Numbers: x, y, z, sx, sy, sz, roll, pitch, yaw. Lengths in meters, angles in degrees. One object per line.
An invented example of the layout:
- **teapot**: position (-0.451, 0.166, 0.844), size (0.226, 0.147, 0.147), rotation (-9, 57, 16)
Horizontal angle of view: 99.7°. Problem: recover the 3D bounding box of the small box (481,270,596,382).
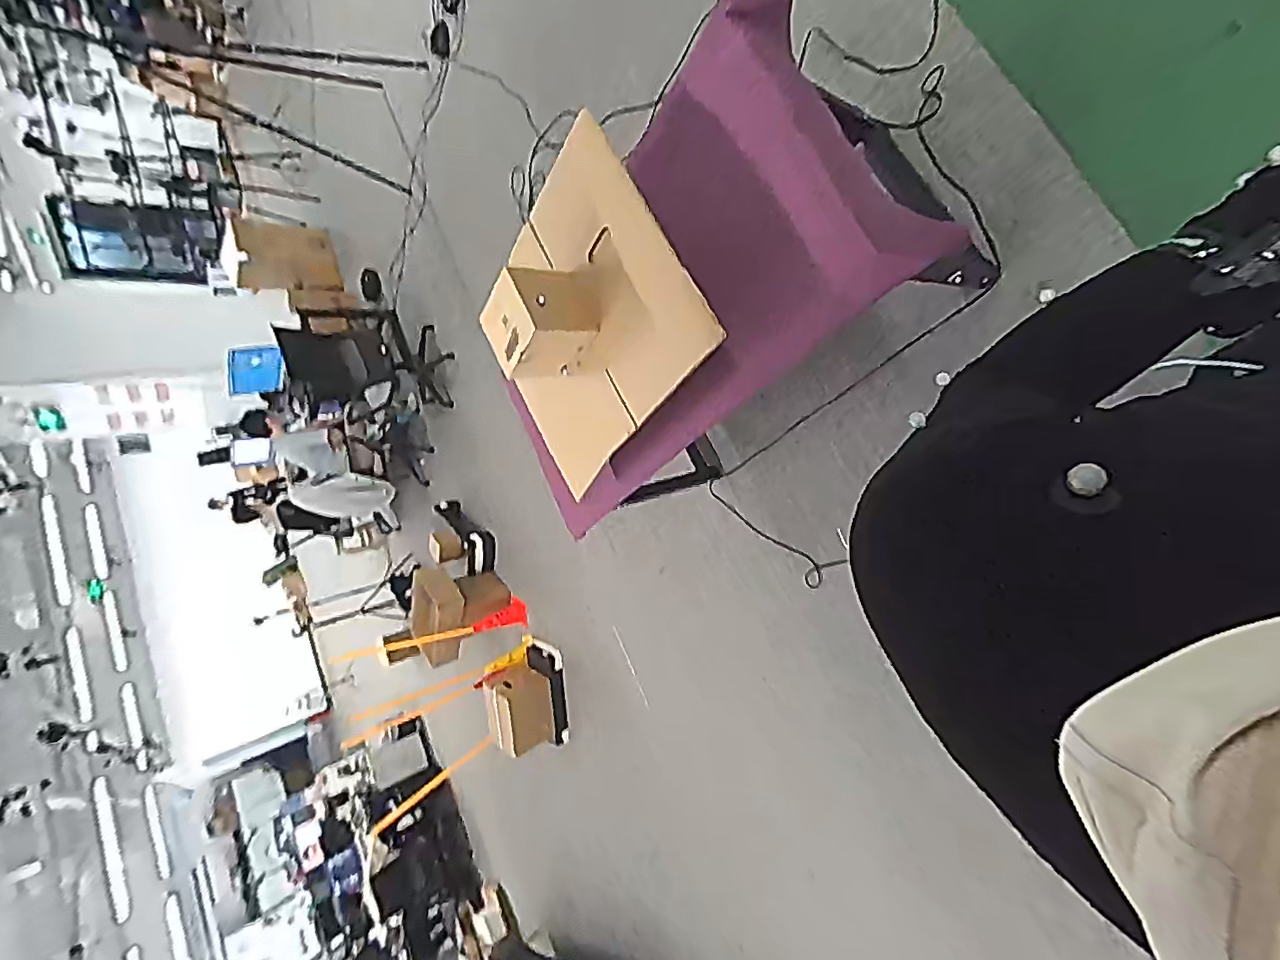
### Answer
- **small box**: position (-0.226, -0.343, 1.212), size (0.168, 0.176, 0.179), rotation (-42, 68, 44)
